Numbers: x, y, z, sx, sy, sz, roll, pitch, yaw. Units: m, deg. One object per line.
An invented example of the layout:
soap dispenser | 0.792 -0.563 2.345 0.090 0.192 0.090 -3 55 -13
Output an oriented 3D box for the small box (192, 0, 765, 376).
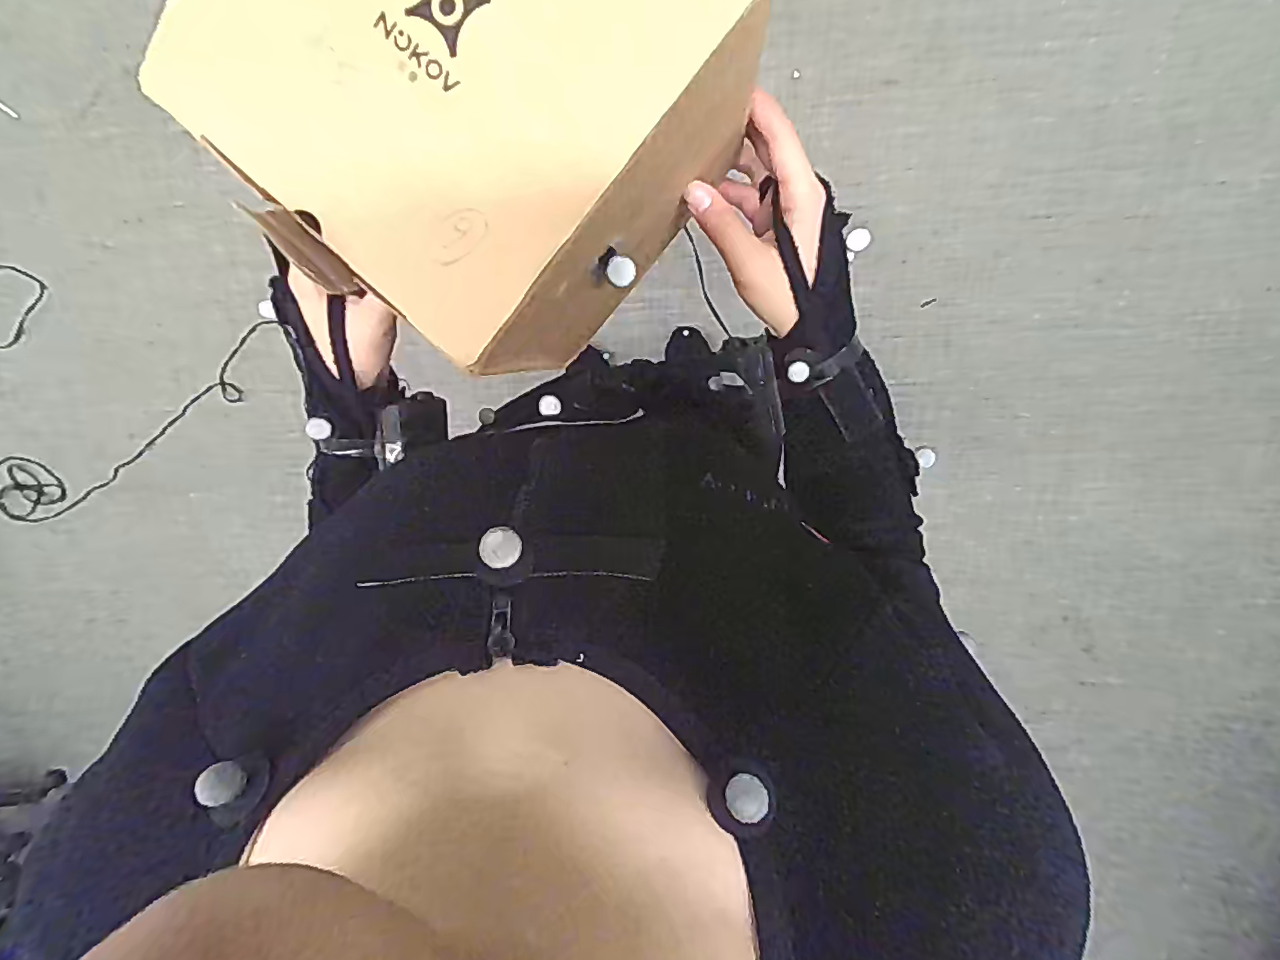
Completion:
small box | -0.059 -0.175 0.282 0.168 0.176 0.179 41 104 -4
